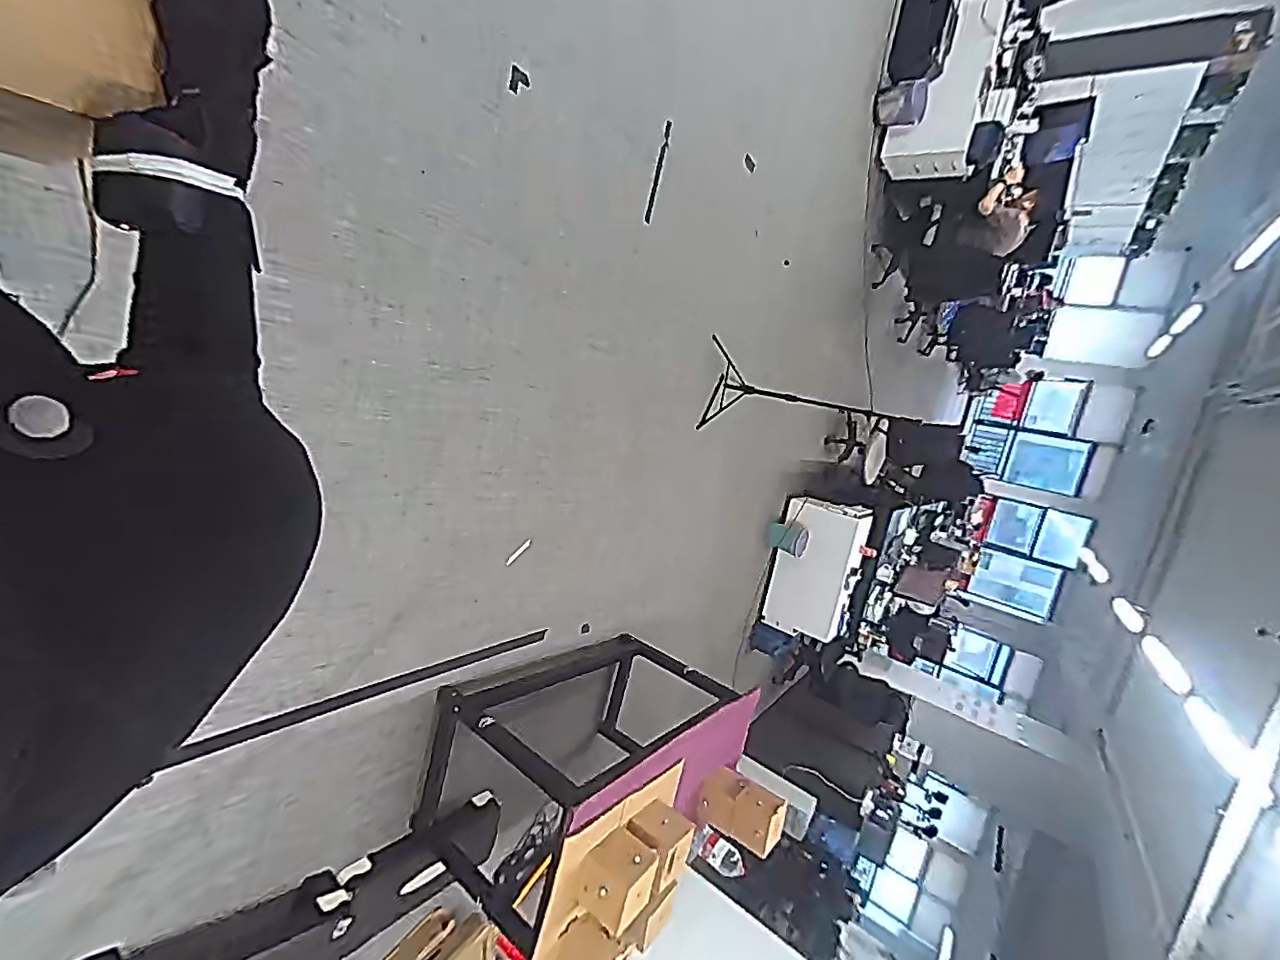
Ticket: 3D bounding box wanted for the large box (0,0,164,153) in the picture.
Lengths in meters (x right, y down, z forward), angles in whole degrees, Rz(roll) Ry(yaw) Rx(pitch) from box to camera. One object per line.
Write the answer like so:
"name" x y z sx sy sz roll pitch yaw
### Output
"large box" -0.548 -0.408 0.262 0.408 0.320 0.320 -10 114 -57
